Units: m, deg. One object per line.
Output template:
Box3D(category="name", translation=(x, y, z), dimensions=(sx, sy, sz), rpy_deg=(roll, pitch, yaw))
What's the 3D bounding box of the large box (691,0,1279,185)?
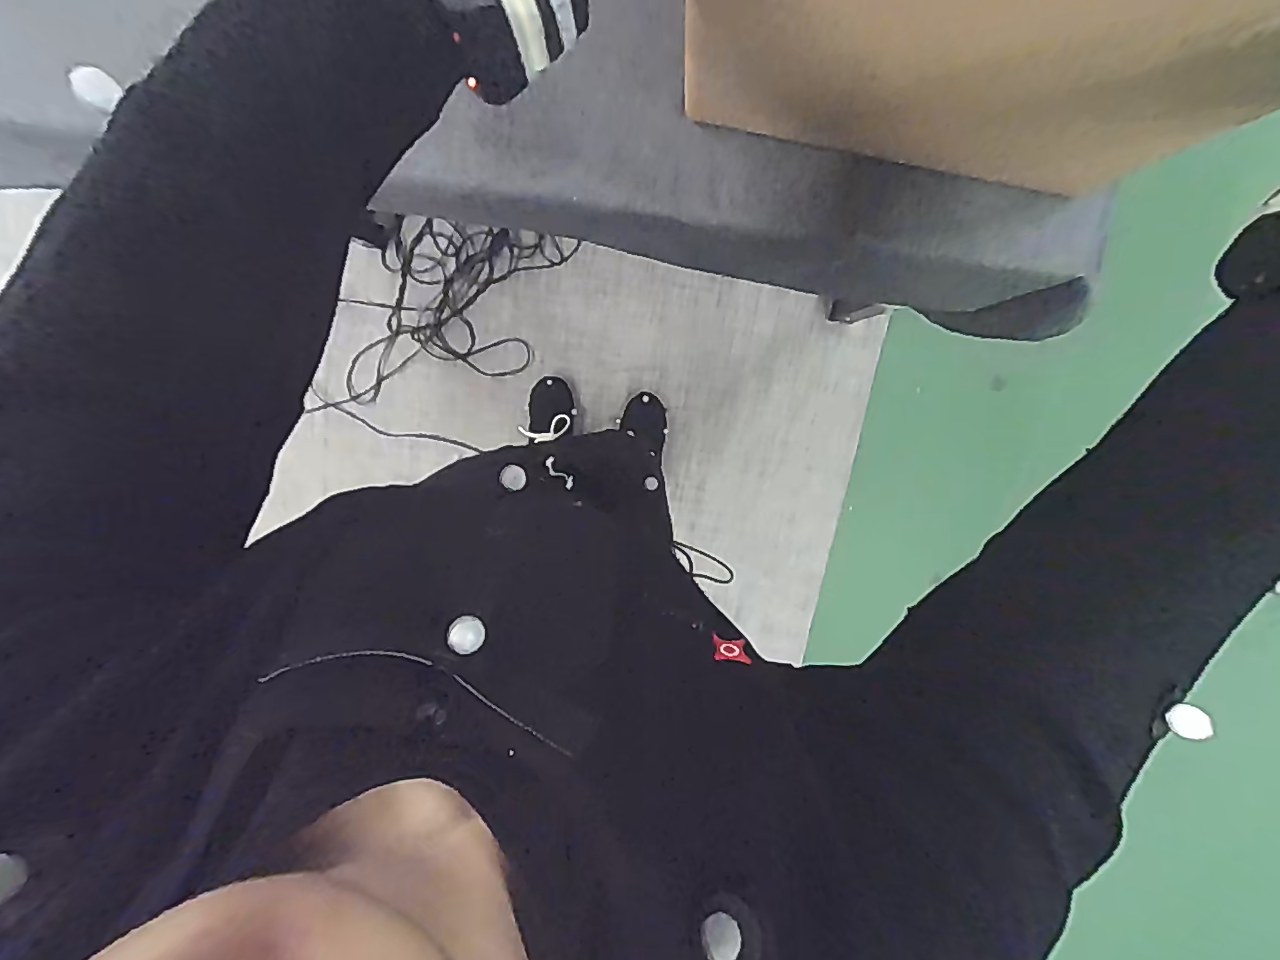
Box3D(category="large box", translation=(0.262, -0.443, 0.362), dimensions=(0.408, 0.320, 0.320), rpy_deg=(12, 102, 0))
